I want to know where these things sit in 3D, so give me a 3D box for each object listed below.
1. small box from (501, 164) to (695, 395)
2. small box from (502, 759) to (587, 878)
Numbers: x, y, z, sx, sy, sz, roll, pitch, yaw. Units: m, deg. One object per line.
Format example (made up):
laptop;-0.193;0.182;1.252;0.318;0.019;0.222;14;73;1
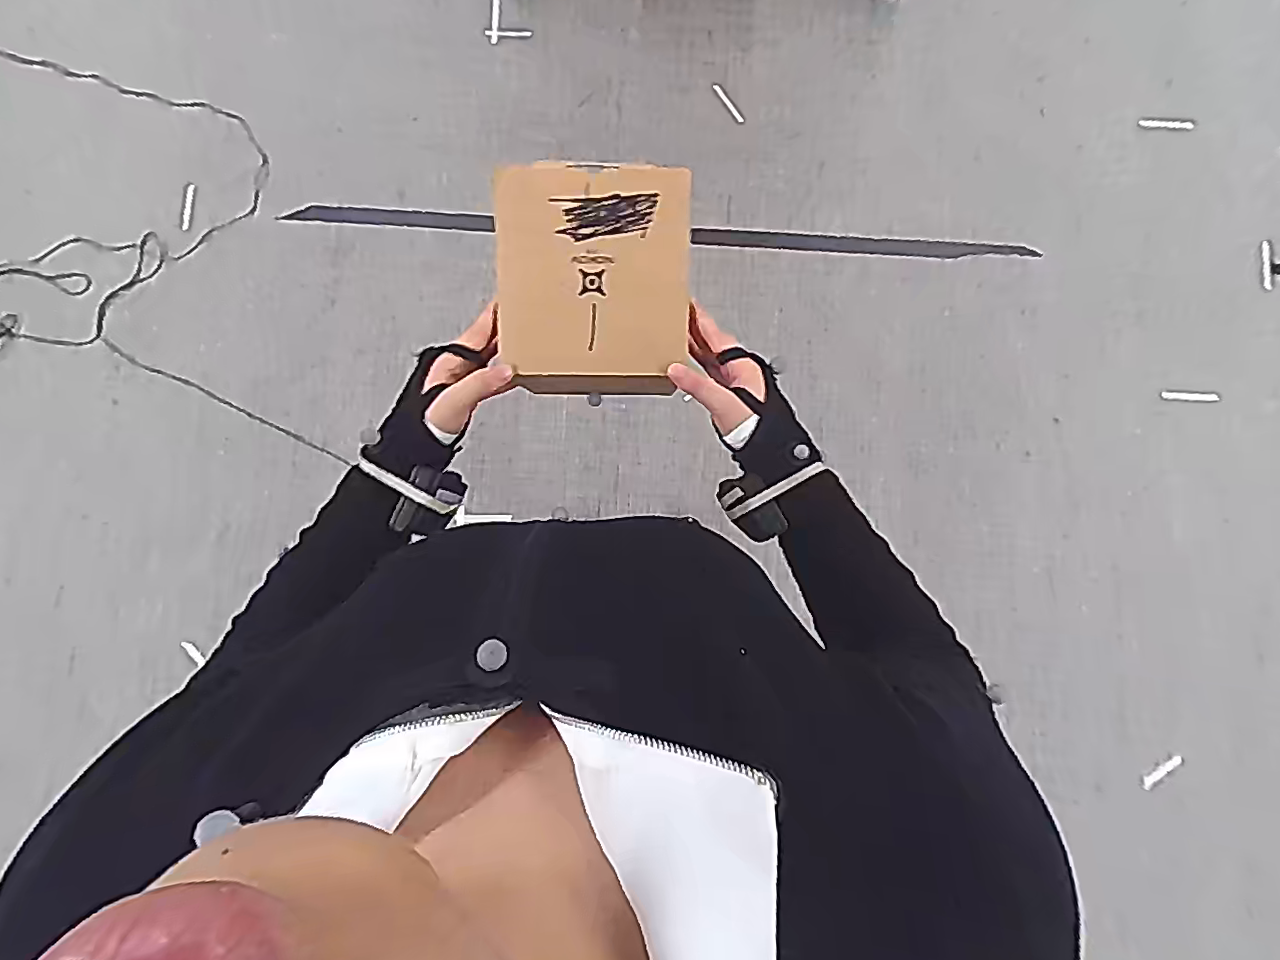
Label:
small box;-0.039;-0.184;0.543;0.168;0.176;0.179;1;93;-1
small box;-0.217;0.786;1.270;0.168;0.176;0.179;2;86;1
